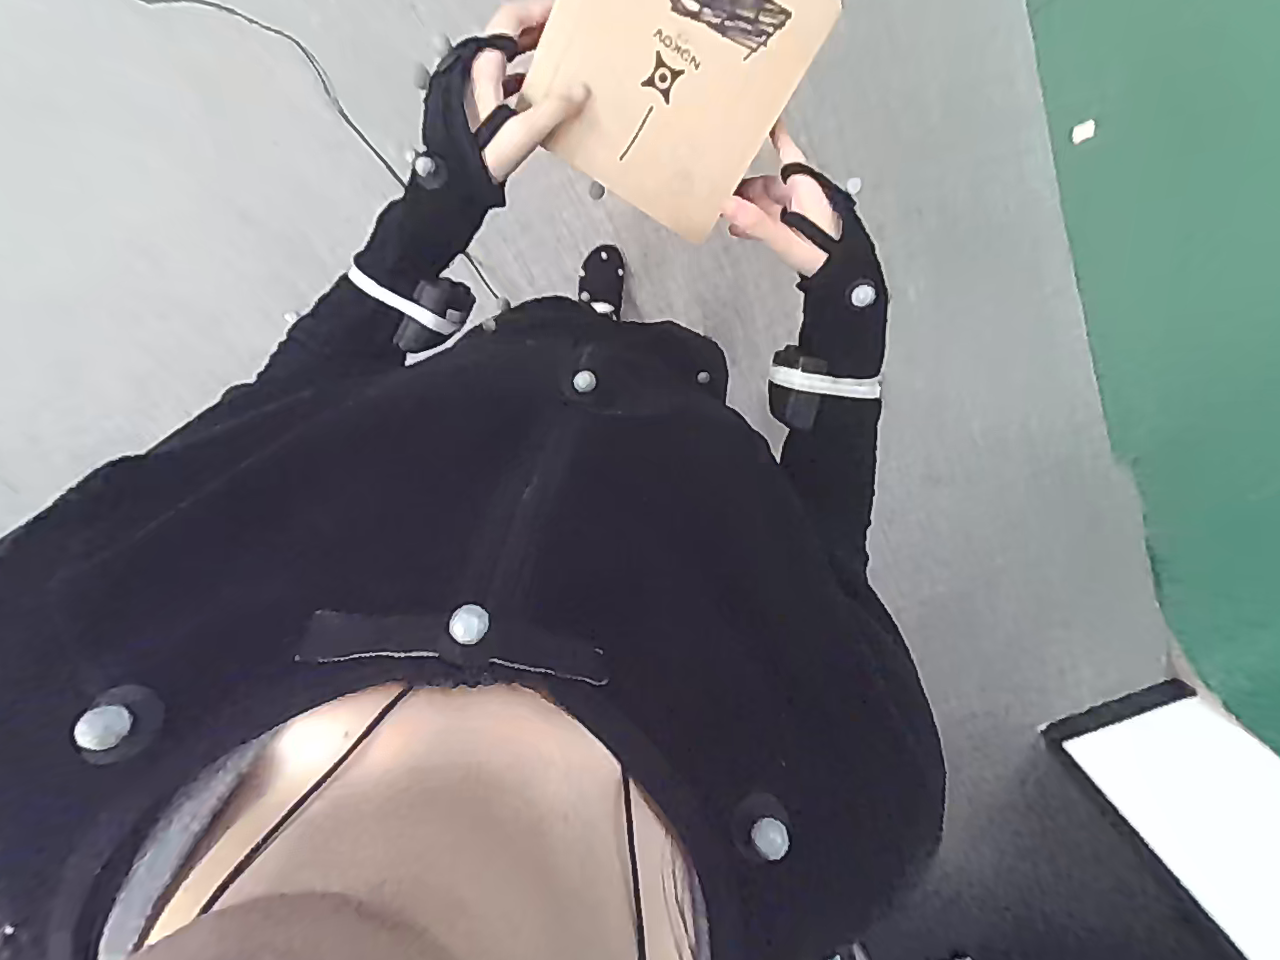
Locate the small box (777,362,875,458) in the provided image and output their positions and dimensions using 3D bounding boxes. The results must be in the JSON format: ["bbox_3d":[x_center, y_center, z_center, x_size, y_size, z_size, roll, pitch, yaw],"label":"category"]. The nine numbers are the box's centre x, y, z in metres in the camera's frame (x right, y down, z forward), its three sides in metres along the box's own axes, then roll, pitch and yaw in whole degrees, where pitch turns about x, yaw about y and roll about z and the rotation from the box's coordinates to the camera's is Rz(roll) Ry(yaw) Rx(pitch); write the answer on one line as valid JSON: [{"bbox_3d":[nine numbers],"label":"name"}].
[{"bbox_3d":[0.471,-0.186,1.404,0.179,0.176,0.168,-27,110,9],"label":"small box"}]

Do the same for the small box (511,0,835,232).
[{"bbox_3d":[0.015,-0.333,0.432,0.168,0.176,0.179,25,116,-18],"label":"small box"}]
